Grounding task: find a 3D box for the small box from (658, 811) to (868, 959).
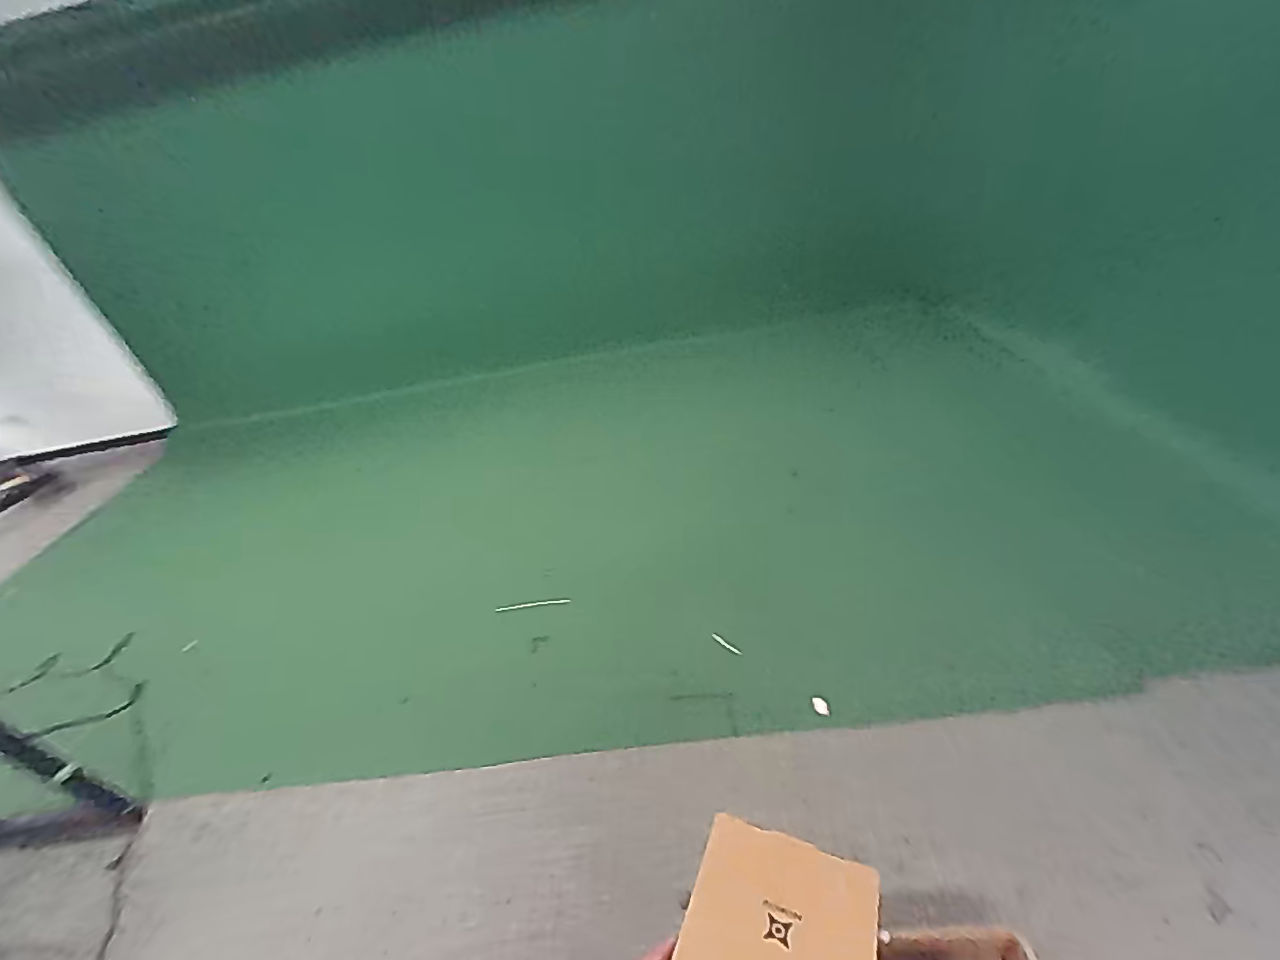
[{"bbox_3d":[0.117,0.476,0.517,0.168,0.176,0.179,8,24,22],"label":"small box"}]
